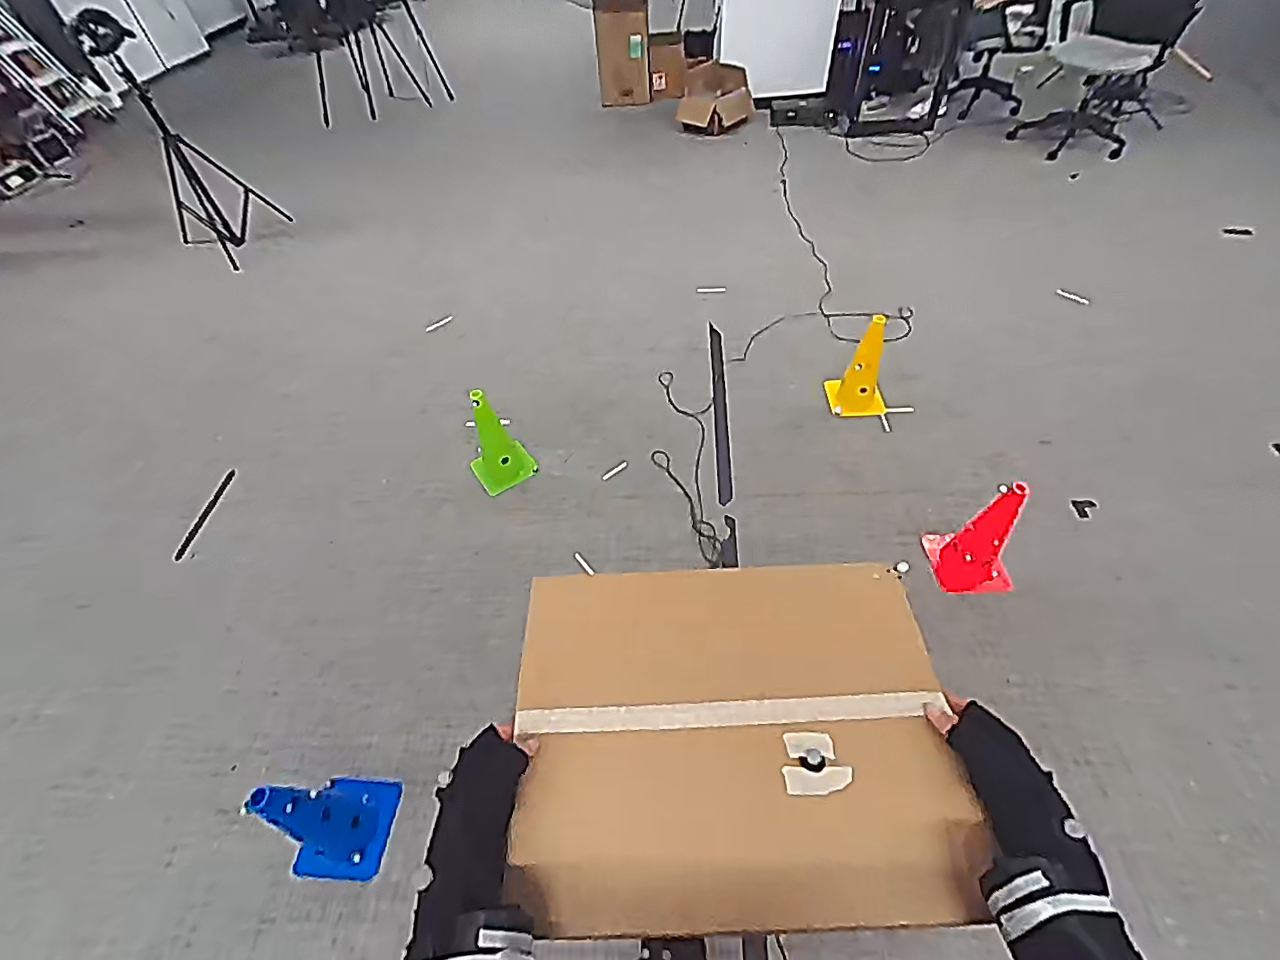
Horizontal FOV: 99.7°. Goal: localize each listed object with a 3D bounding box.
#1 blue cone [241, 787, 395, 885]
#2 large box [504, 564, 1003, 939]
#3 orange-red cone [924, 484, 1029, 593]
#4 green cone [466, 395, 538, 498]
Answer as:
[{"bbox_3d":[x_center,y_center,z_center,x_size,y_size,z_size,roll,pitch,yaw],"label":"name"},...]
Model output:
[{"bbox_3d":[-0.700,0.728,1.148,0.192,0.380,0.193,1,50,7],"label":"blue cone"},{"bbox_3d":[0.087,0.320,0.630,0.408,0.320,0.320,-3,50,1],"label":"large box"},{"bbox_3d":[0.956,0.136,1.477,0.198,0.360,0.199,-2,49,2],"label":"orange-red cone"},{"bbox_3d":[-0.510,-0.146,1.841,0.202,0.368,0.200,-32,54,-18],"label":"green cone"}]
